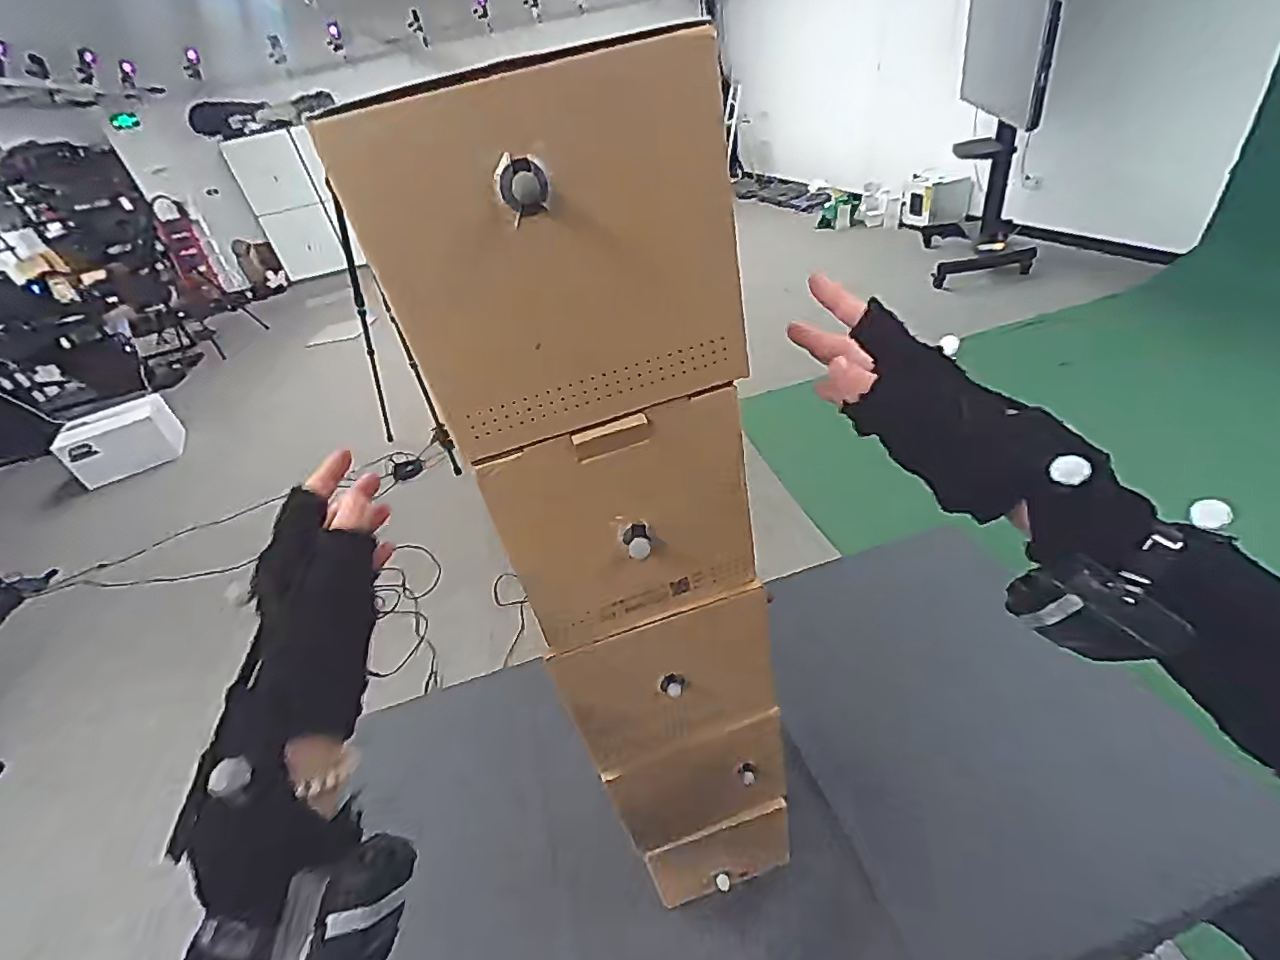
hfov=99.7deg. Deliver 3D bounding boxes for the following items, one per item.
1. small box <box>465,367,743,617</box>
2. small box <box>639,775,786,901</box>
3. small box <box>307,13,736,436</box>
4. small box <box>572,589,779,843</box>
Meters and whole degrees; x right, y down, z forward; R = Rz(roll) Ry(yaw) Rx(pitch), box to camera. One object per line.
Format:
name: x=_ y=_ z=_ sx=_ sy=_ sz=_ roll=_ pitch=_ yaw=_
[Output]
small box: x=-0.028 y=-0.015 z=0.431 sx=0.168 sy=0.176 sz=0.179 roll=-17 pitch=35 yaw=-6
small box: x=0.074 y=0.387 z=0.691 sx=0.168 sy=0.176 sz=0.179 roll=-17 pitch=36 yaw=-5
small box: x=-0.055 y=-0.147 z=0.335 sx=0.179 sy=0.176 sz=0.168 roll=-17 pitch=34 yaw=-5
small box: x=0.039 y=0.257 z=0.600 sx=0.179 sy=0.176 sz=0.168 roll=-18 pitch=34 yaw=-7
